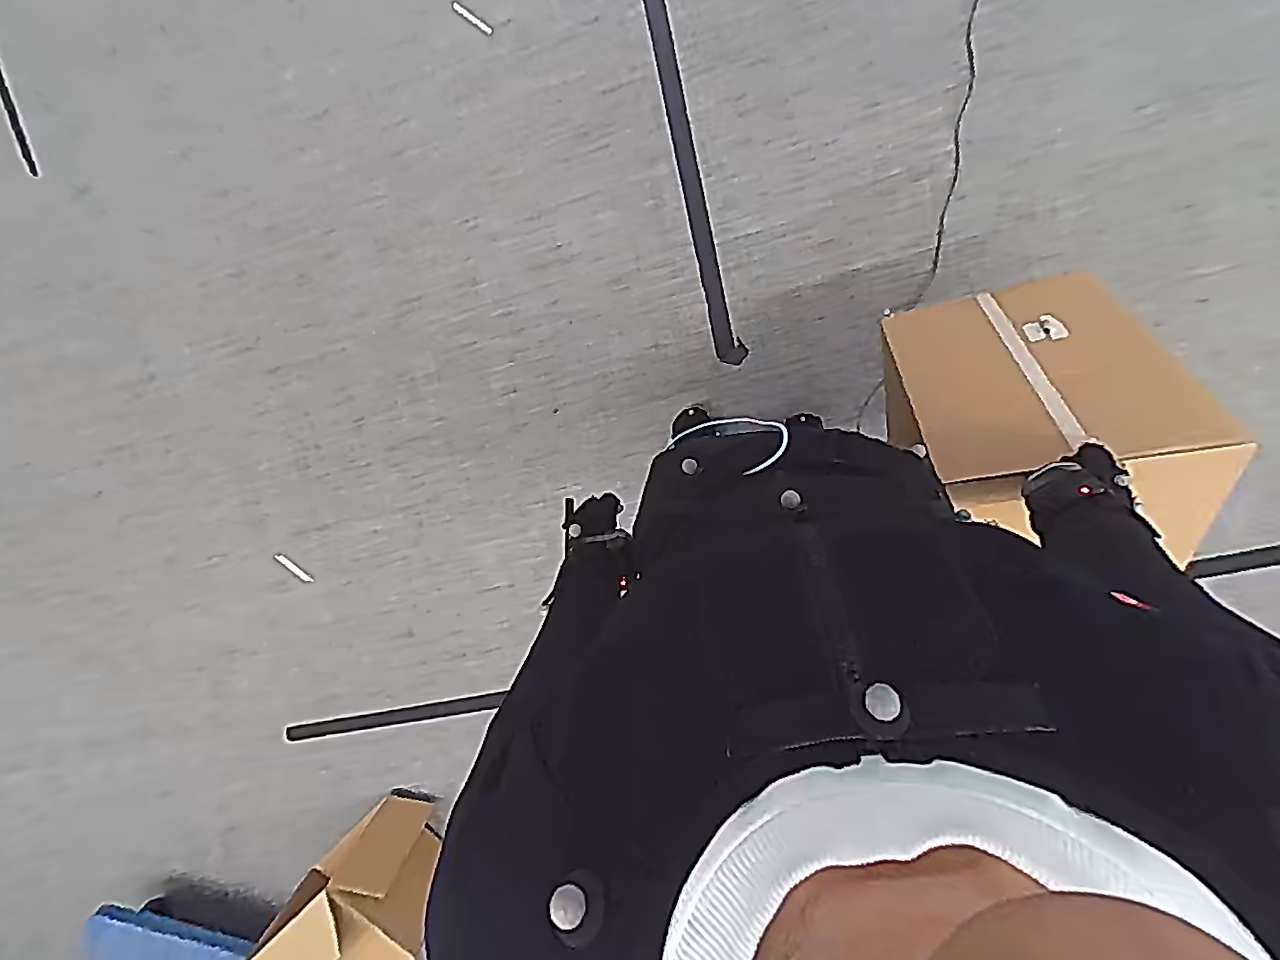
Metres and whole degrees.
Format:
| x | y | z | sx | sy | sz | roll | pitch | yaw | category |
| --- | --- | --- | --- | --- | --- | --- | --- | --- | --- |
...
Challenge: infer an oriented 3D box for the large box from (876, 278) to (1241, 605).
| x | y | z | sx | sy | sz | roll | pitch | yaw | category |
| --- | --- | --- | --- | --- | --- | --- | --- | --- | --- |
| 0.596 | -0.059 | 0.878 | 0.320 | 0.408 | 0.320 | -9 | 133 | 17 | large box |
